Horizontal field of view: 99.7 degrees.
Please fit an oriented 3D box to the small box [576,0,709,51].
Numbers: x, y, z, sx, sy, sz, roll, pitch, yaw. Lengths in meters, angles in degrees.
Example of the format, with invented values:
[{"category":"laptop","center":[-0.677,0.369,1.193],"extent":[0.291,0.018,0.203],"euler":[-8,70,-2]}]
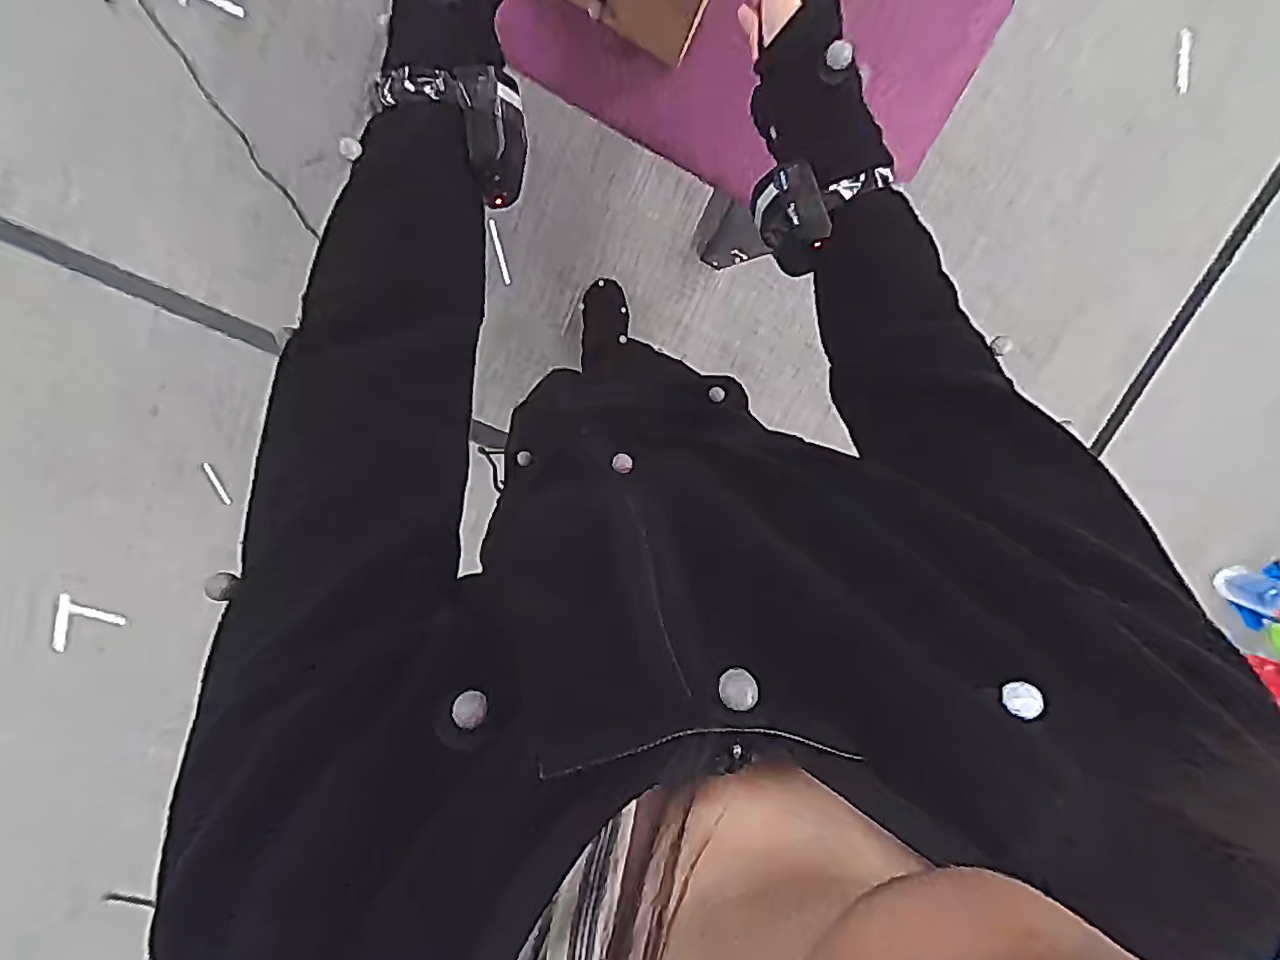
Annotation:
[{"category":"small box","center":[0.007,-0.493,0.430],"extent":[0.179,0.176,0.168],"euler":[24,104,-13]}]
